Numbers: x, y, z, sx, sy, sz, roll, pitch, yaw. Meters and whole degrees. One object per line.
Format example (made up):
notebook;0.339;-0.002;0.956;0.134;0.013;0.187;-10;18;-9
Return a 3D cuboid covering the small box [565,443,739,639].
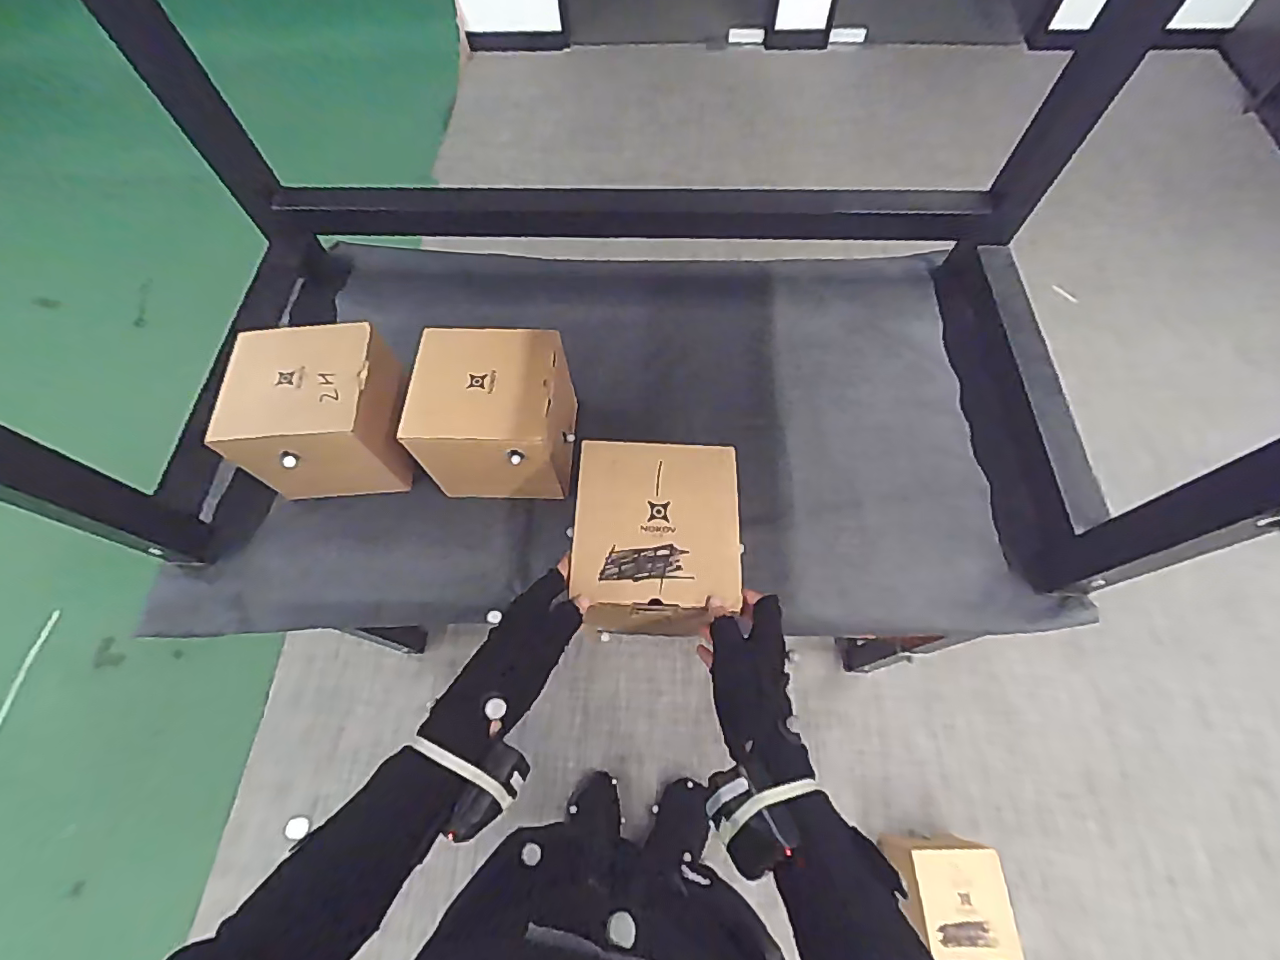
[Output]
small box;0.015;0.076;0.606;0.168;0.176;0.179;3;65;-1
